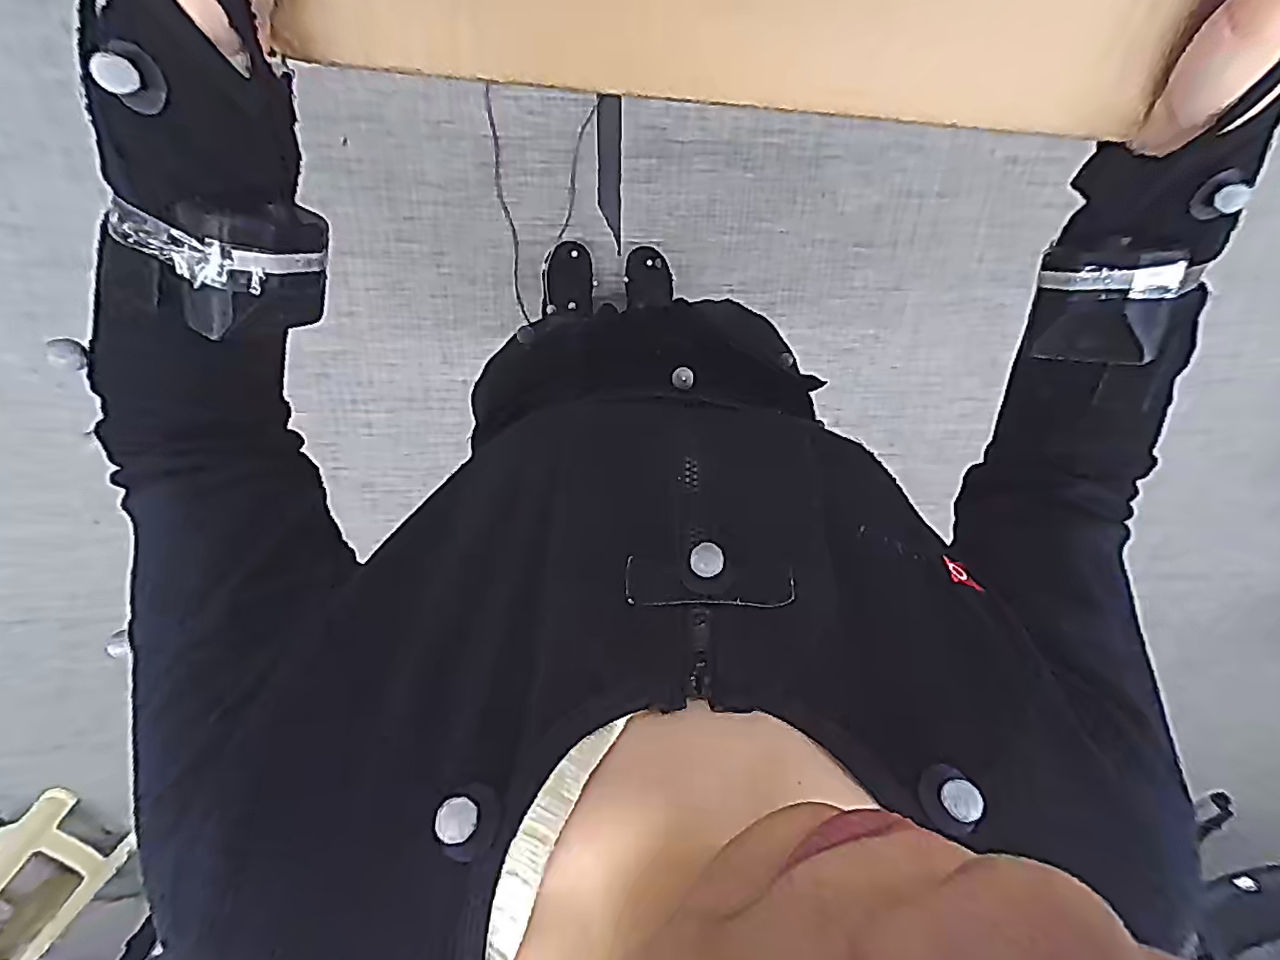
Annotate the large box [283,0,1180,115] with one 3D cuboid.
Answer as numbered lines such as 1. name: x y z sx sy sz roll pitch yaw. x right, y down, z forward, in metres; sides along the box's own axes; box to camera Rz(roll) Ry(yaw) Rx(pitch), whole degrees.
1. large box: 0.045 -0.399 0.266 0.408 0.320 0.320 1 133 -6
